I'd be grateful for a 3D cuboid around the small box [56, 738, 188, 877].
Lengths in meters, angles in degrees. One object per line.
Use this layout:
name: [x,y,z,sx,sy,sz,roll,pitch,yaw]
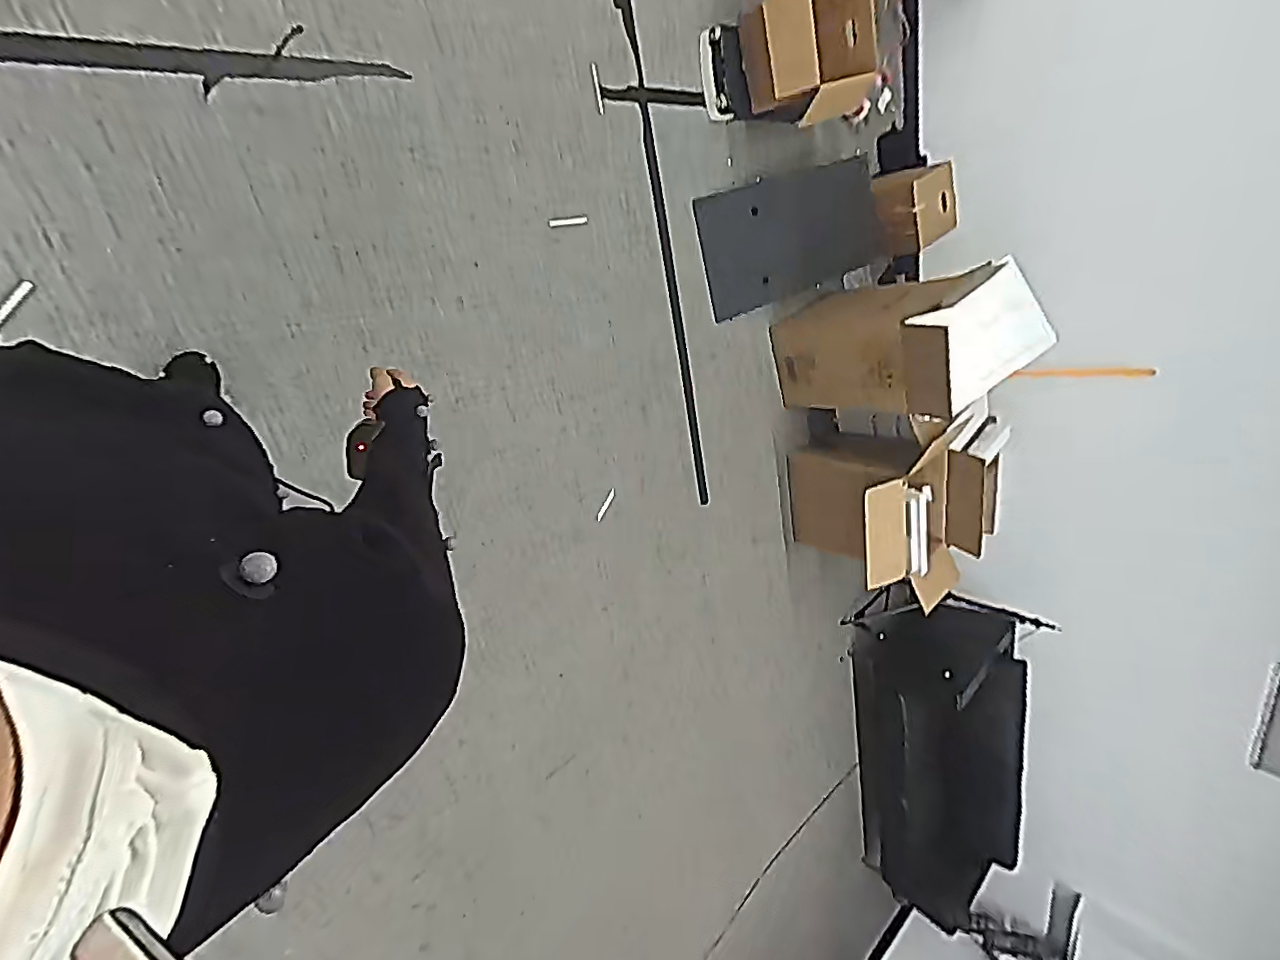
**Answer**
small box: [-1.182,0.744,1.249,0.179,0.176,0.168,-22,113,-35]
